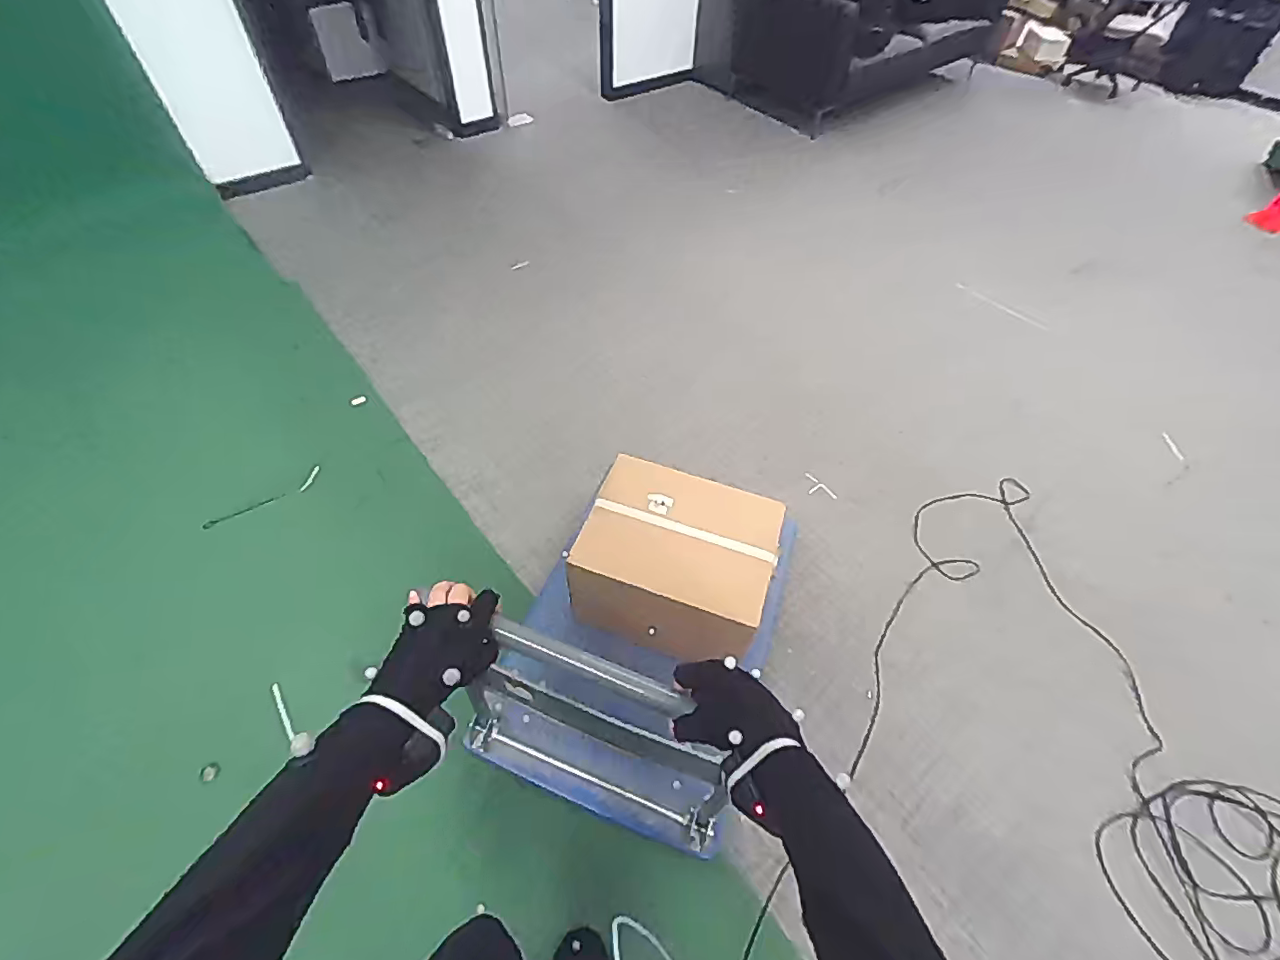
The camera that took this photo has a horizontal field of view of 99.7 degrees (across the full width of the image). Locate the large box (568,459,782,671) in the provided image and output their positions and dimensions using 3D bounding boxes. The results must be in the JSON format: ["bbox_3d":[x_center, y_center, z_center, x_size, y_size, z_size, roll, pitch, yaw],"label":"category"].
[{"bbox_3d":[0.084,0.205,1.281,0.408,0.320,0.320,17,53,10],"label":"large box"}]
